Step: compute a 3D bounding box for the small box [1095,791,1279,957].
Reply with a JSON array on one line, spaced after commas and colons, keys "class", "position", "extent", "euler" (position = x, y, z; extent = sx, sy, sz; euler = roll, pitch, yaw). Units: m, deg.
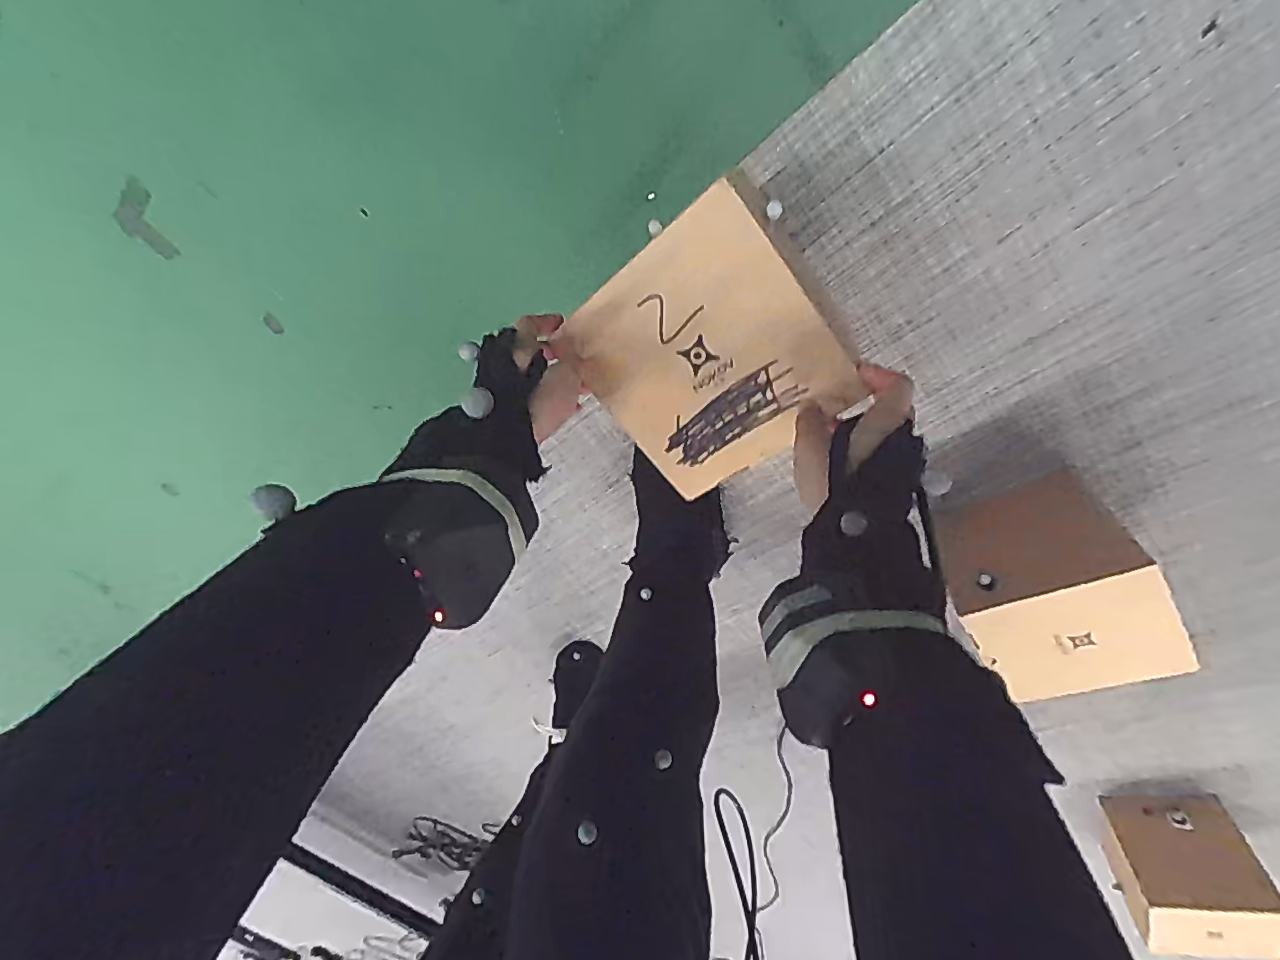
[{"class": "small box", "position": [0.890, 0.641, 0.890], "extent": [0.168, 0.176, 0.179], "euler": [-17, 118, 22]}]

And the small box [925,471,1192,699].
[{"class": "small box", "position": [0.467, 0.118, 0.630], "extent": [0.179, 0.176, 0.168], "euler": [-29, 113, 29]}]
